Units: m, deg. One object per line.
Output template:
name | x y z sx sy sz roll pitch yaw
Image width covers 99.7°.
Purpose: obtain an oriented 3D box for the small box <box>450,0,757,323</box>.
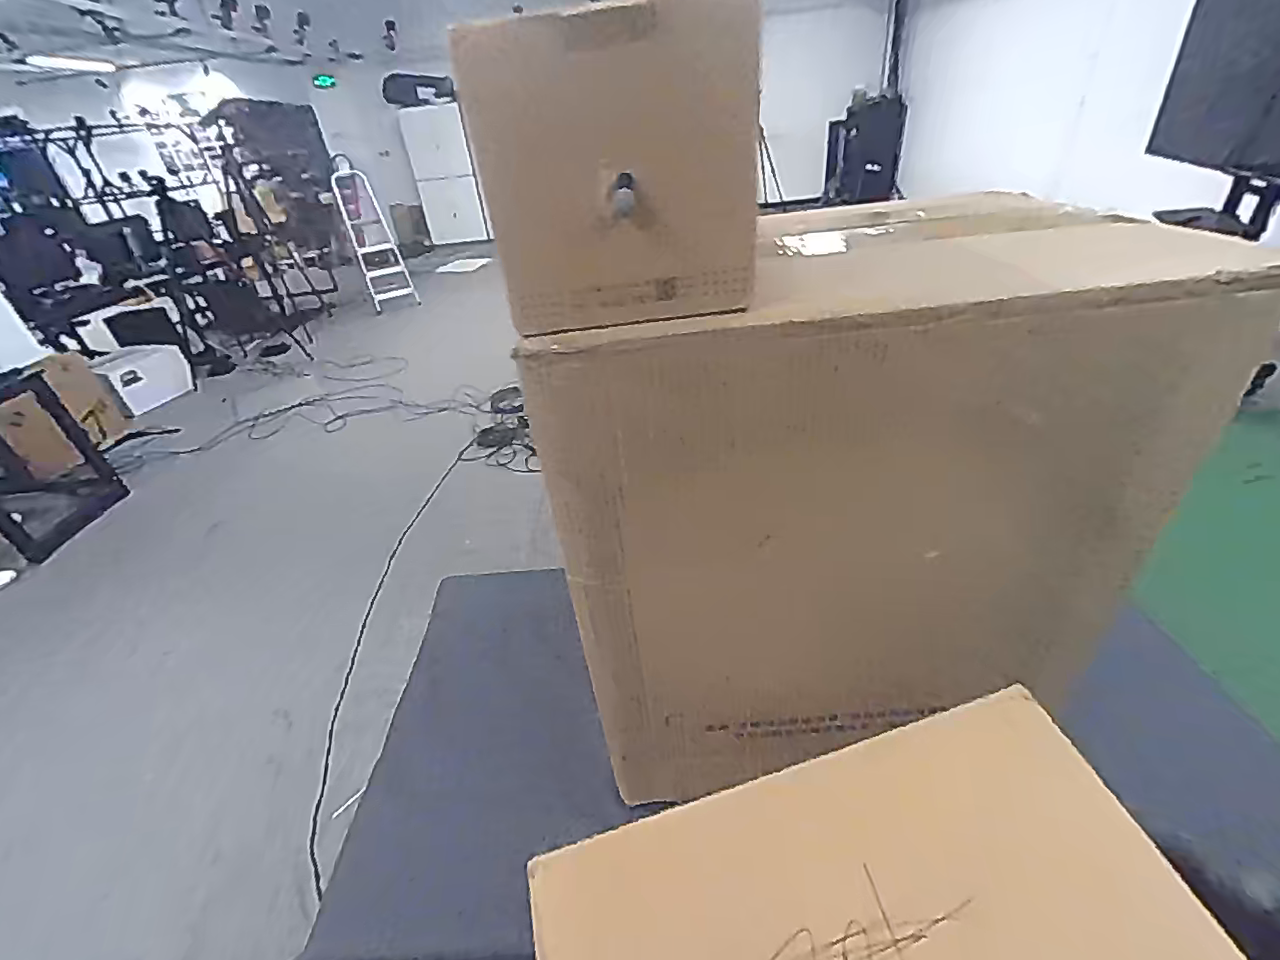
small box | -0.013 -0.220 0.390 0.168 0.176 0.179 -6 37 2
